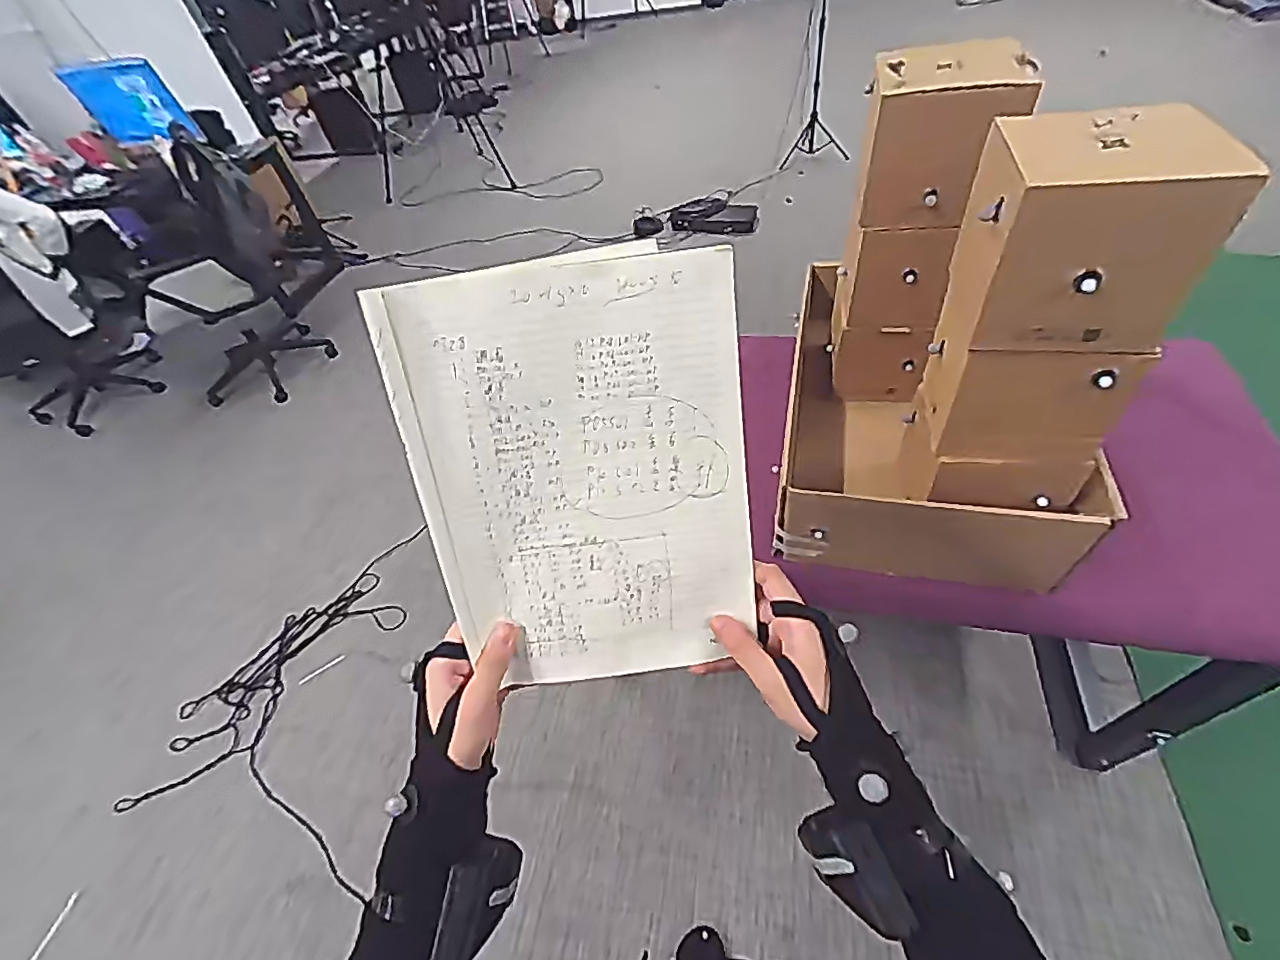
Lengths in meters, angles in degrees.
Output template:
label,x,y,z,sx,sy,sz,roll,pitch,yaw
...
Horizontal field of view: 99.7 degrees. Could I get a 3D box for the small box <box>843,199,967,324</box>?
label,x,y,z,sx,sy,sz,roll,pitch,yaw
small box,0.434,-0.366,0.869,0.179,0.176,0.168,4,51,13

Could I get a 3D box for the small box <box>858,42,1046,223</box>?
label,x,y,z,sx,sy,sz,roll,pitch,yaw
small box,0.410,-0.472,0.747,0.179,0.176,0.168,6,52,14

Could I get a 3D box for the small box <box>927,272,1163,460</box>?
label,x,y,z,sx,sy,sz,roll,pitch,yaw
small box,0.467,-0.141,0.665,0.179,0.176,0.168,6,50,15

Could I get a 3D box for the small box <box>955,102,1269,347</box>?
label,x,y,z,sx,sy,sz,roll,pitch,yaw
small box,0.438,-0.250,0.545,0.168,0.176,0.179,6,49,15
